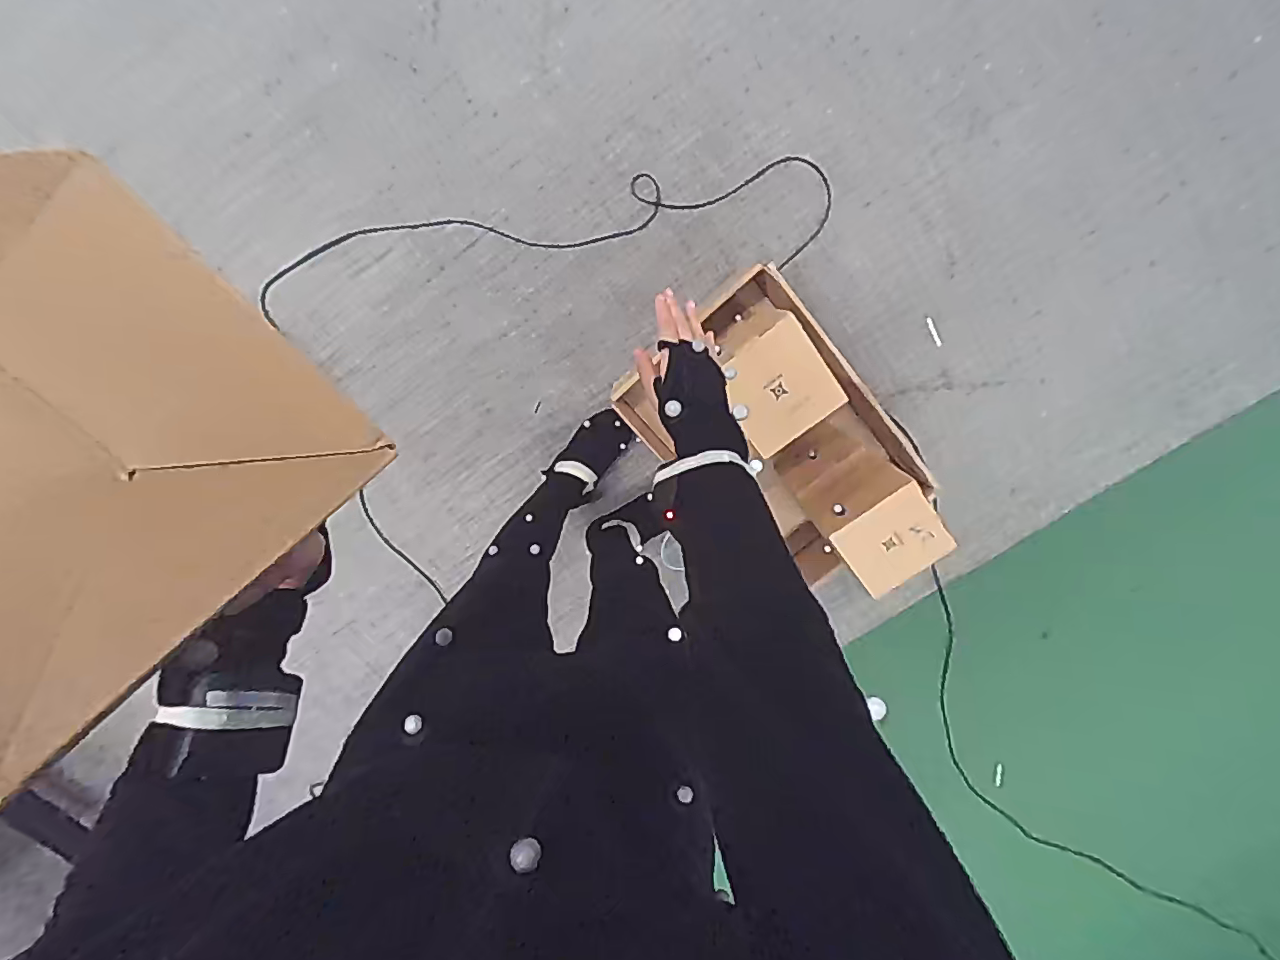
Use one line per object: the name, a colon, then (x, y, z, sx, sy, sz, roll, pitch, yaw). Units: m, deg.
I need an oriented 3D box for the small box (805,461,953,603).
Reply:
small box: (0.436, 0.091, 1.023, 0.179, 0.176, 0.168, -36, 107, 9)

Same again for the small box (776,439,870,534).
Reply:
small box: (0.423, 0.027, 1.176, 0.168, 0.176, 0.179, -36, 105, 10)

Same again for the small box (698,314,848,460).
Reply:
small box: (0.216, -0.167, 0.932, 0.168, 0.176, 0.179, -35, 107, 11)
